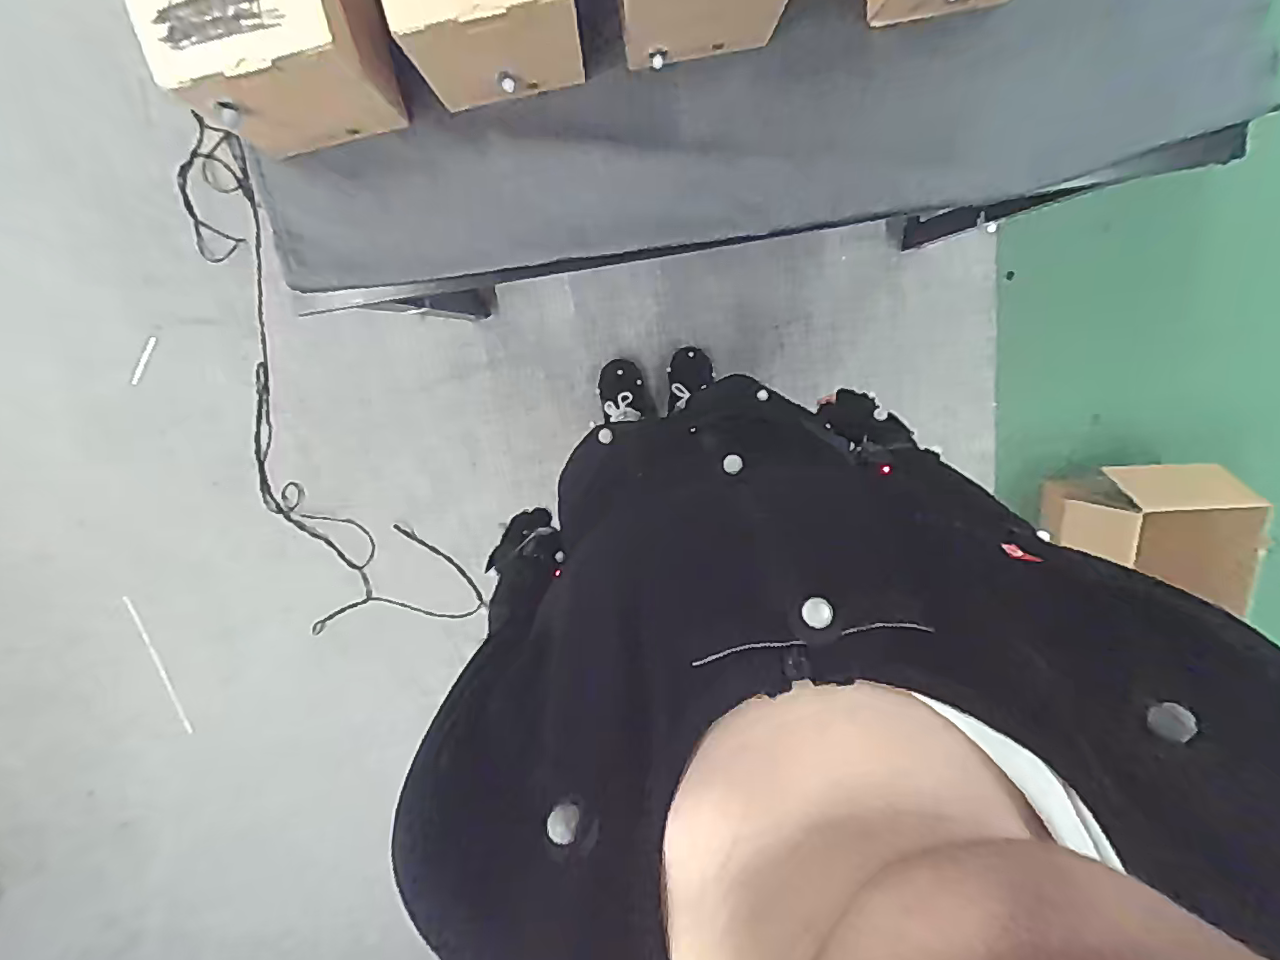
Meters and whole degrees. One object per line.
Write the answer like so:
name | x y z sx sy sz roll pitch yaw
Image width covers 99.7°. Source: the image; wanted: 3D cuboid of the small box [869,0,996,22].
small box | 0.330 -0.603 0.525 0.168 0.176 0.179 -10 104 1
